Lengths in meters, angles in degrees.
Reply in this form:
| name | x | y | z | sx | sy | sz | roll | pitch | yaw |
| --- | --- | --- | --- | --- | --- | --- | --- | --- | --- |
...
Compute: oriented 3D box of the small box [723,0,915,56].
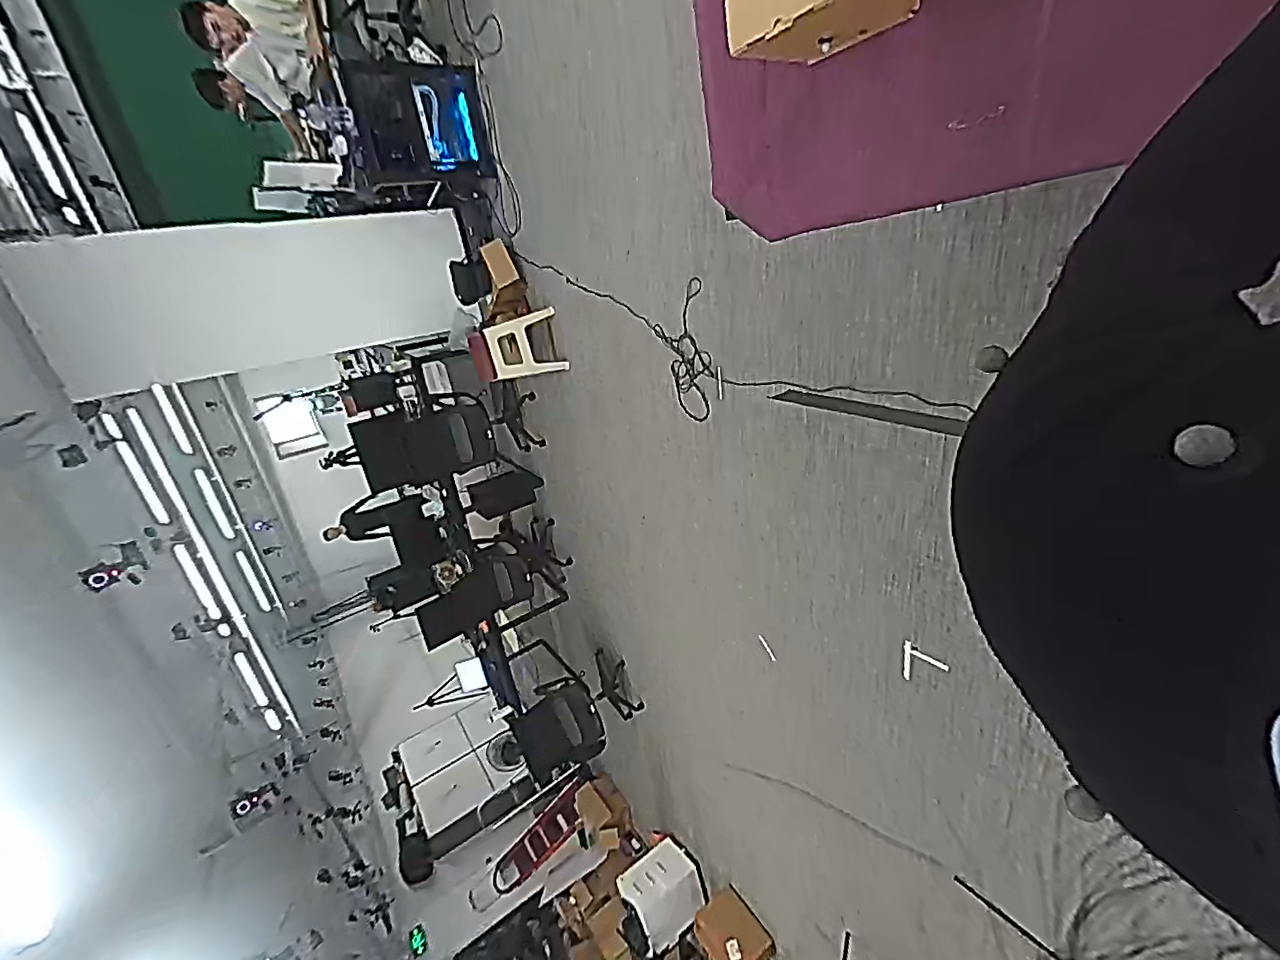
| name | x | y | z | sx | sy | sz | roll | pitch | yaw |
| --- | --- | --- | --- | --- | --- | --- | --- | --- | --- |
| small box | 0.215 | -0.646 | 0.651 | 0.168 | 0.176 | 0.179 | 21 | 128 | 52 |
